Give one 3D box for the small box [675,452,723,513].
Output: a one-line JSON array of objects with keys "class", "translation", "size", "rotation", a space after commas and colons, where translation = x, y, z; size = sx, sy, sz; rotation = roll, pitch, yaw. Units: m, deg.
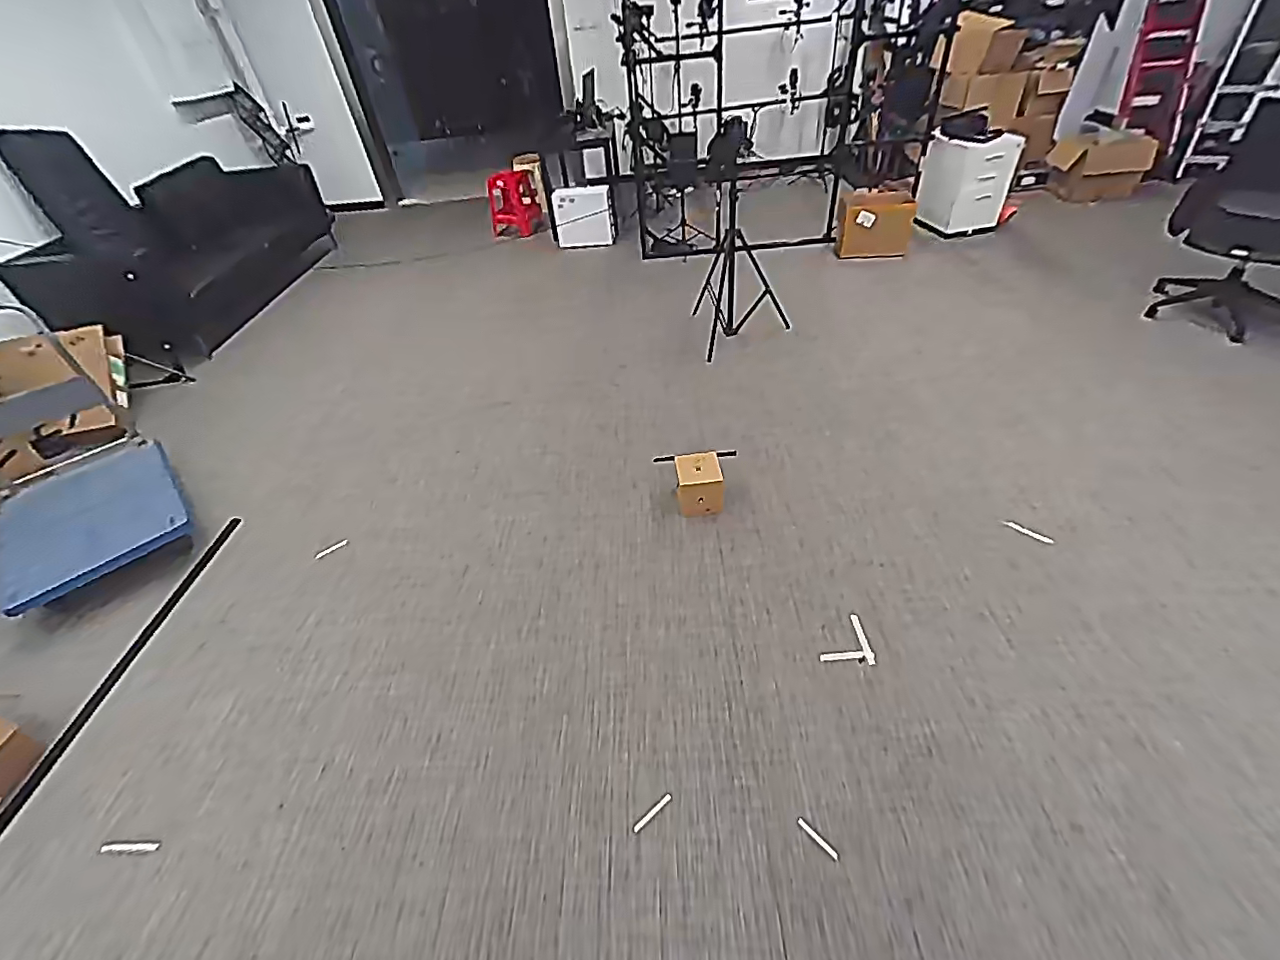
[{"class": "small box", "translation": [0.232, 0.017, 2.115], "size": [0.168, 0.176, 0.179], "rotation": [-7, 41, 0]}]
